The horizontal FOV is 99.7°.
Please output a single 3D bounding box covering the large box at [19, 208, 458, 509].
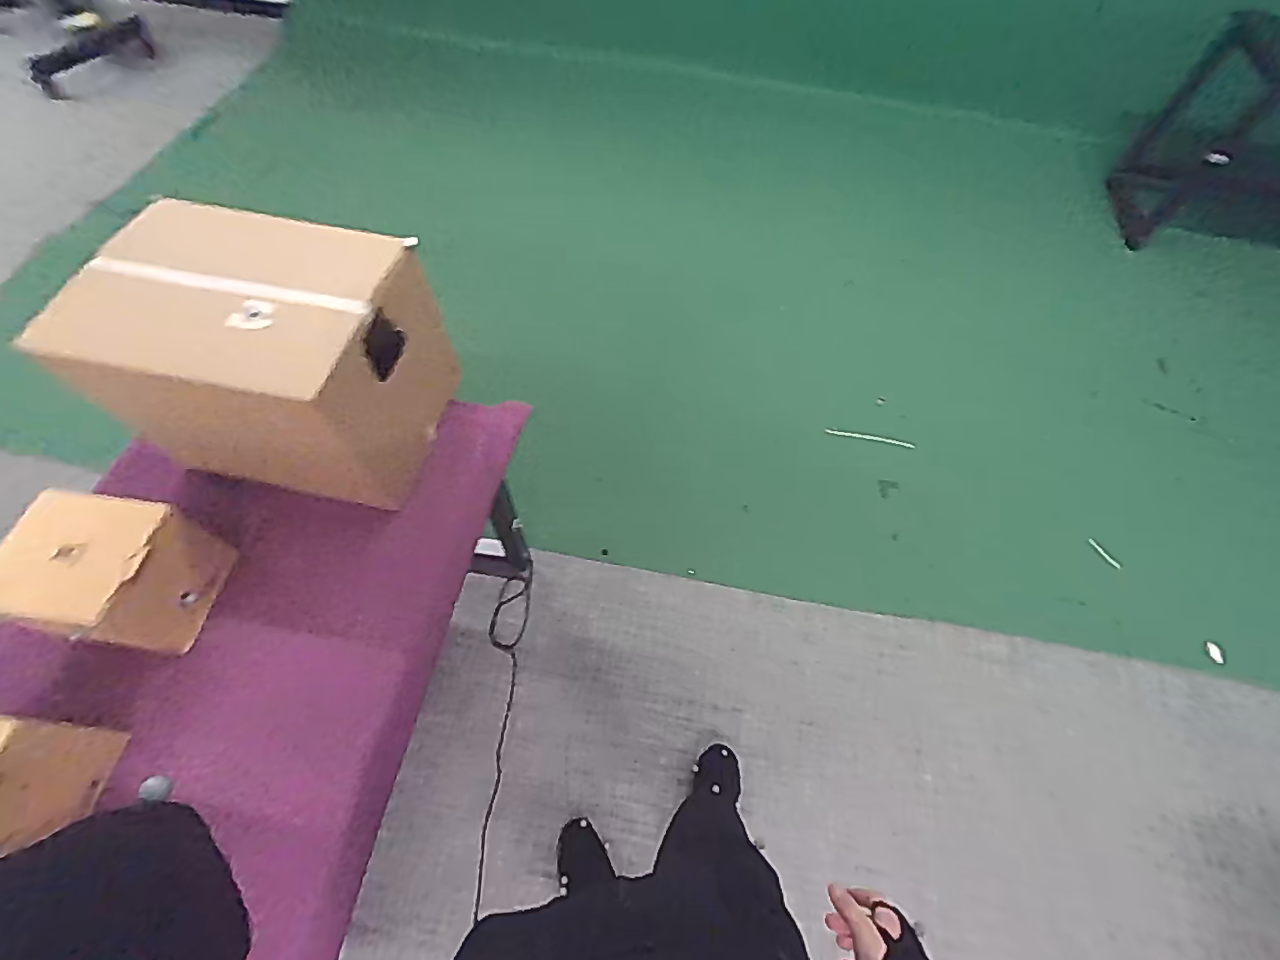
[{"bbox_3d":[-0.567,-0.180,0.870,0.408,0.320,0.320,10,62,2],"label":"large box"}]
